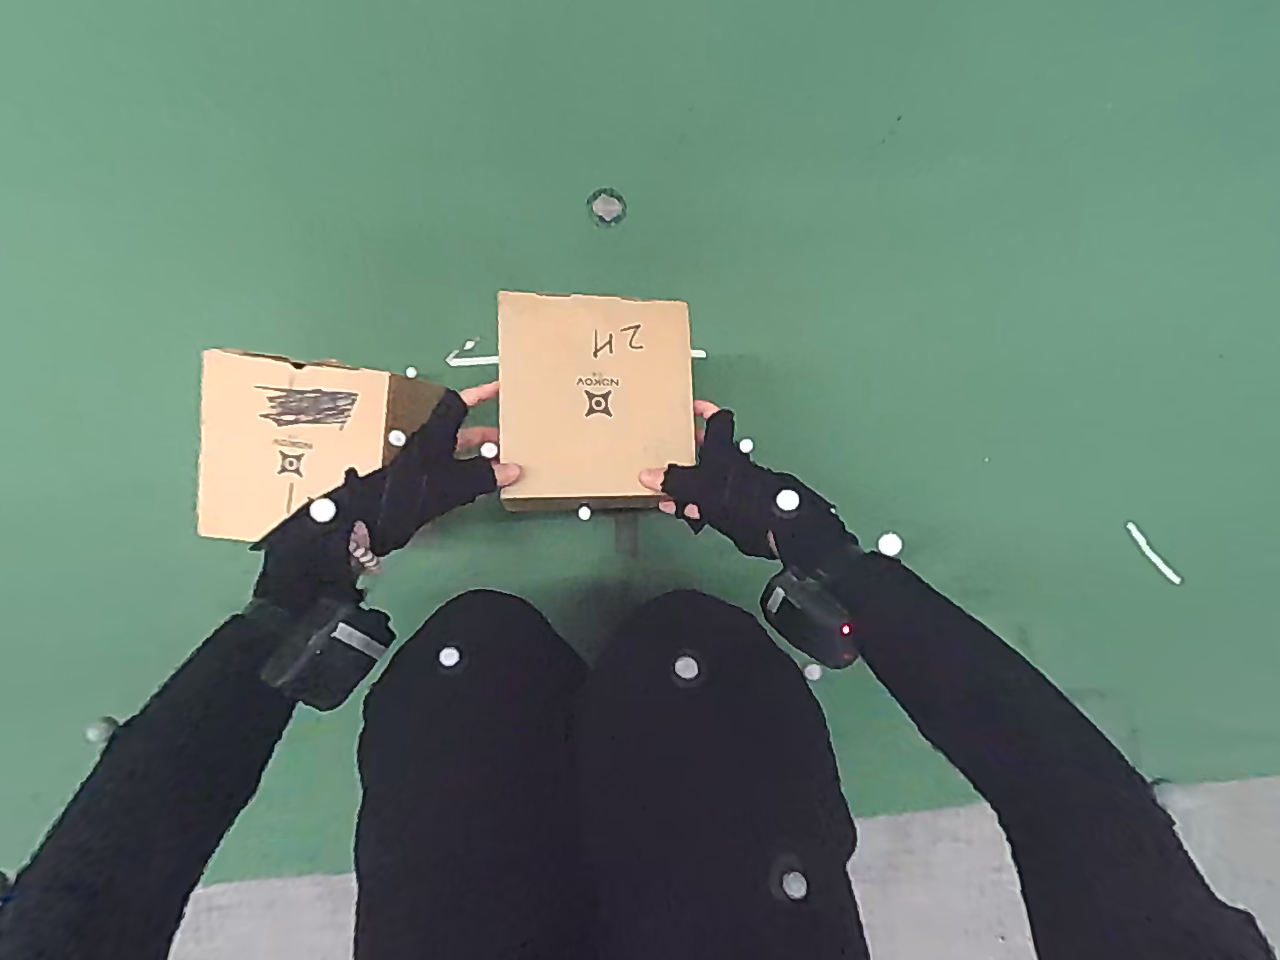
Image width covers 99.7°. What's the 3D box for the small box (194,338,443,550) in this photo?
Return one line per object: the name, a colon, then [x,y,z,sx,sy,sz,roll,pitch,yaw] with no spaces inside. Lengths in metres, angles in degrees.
small box: [-0.319,-0.037,0.571,0.168,0.176,0.179,8,95,-4]
